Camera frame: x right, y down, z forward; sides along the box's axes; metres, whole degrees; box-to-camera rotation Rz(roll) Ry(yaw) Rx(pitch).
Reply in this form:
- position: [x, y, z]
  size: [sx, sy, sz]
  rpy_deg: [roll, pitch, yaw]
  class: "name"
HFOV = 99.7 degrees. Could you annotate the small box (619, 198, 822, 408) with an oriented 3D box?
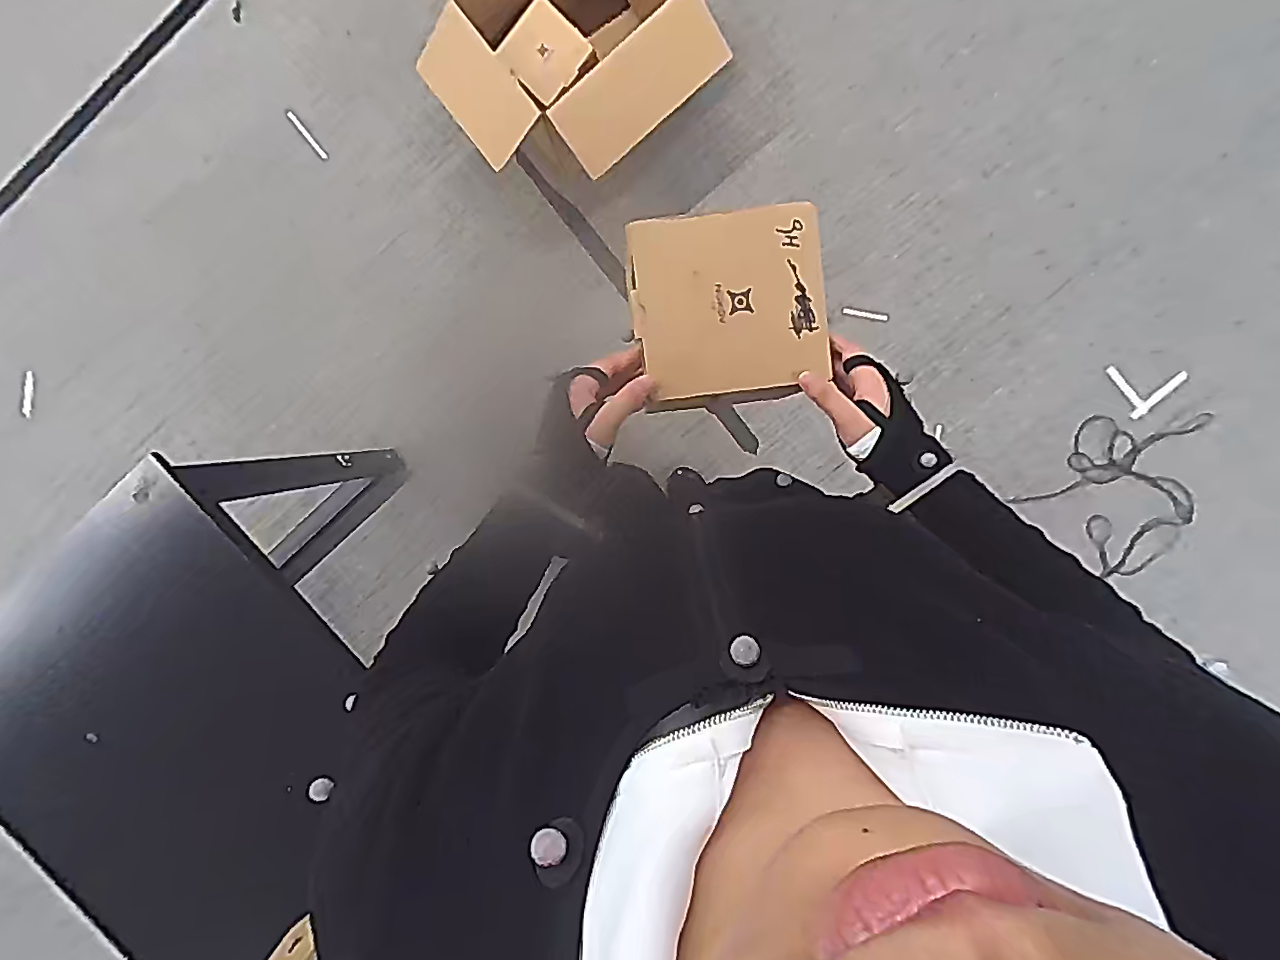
- position: [0.076, -0.173, 0.580]
  size: [0.179, 0.176, 0.168]
  rpy_deg: [-7, 93, 0]
  class: "small box"
